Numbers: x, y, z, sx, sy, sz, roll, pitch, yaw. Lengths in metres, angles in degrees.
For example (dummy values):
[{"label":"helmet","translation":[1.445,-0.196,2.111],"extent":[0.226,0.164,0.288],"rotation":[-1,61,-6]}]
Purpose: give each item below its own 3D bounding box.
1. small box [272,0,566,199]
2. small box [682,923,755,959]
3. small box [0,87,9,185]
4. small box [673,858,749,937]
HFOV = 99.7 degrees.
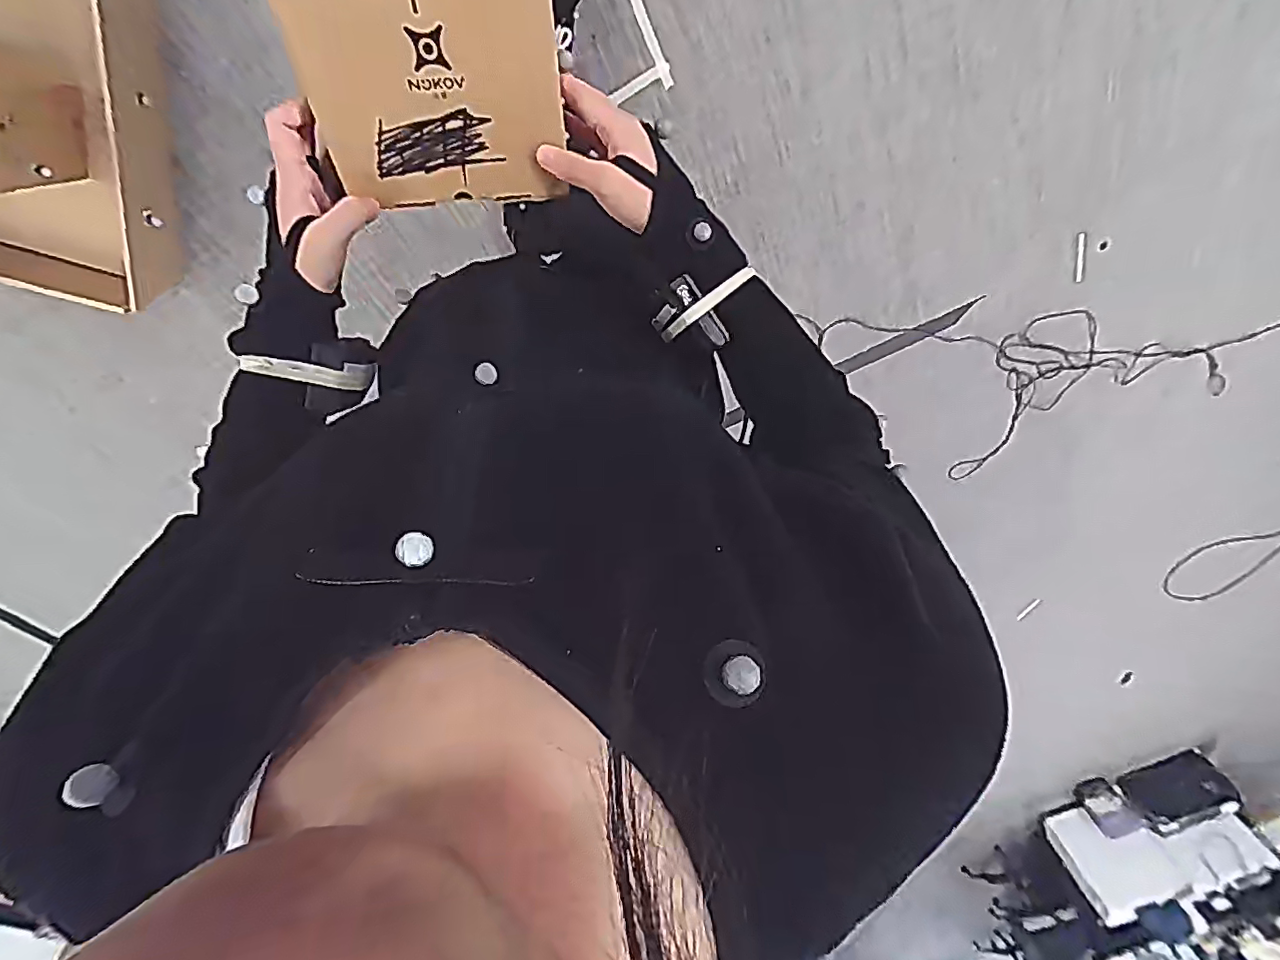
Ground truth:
[{"label":"small box","translation":[-0.146,-0.333,0.392],"extent":[0.168,0.176,0.179],"rotation":[-7,141,-6]},{"label":"small box","translation":[0.240,1.417,1.561],"extent":[0.168,0.176,0.179],"rotation":[-27,124,8]},{"label":"small box","translation":[-1.091,-0.536,0.789],"extent":[0.179,0.176,0.168],"rotation":[17,120,-20]},{"label":"small box","translation":[0.219,1.319,1.689],"extent":[0.168,0.176,0.179],"rotation":[-25,124,7]}]
